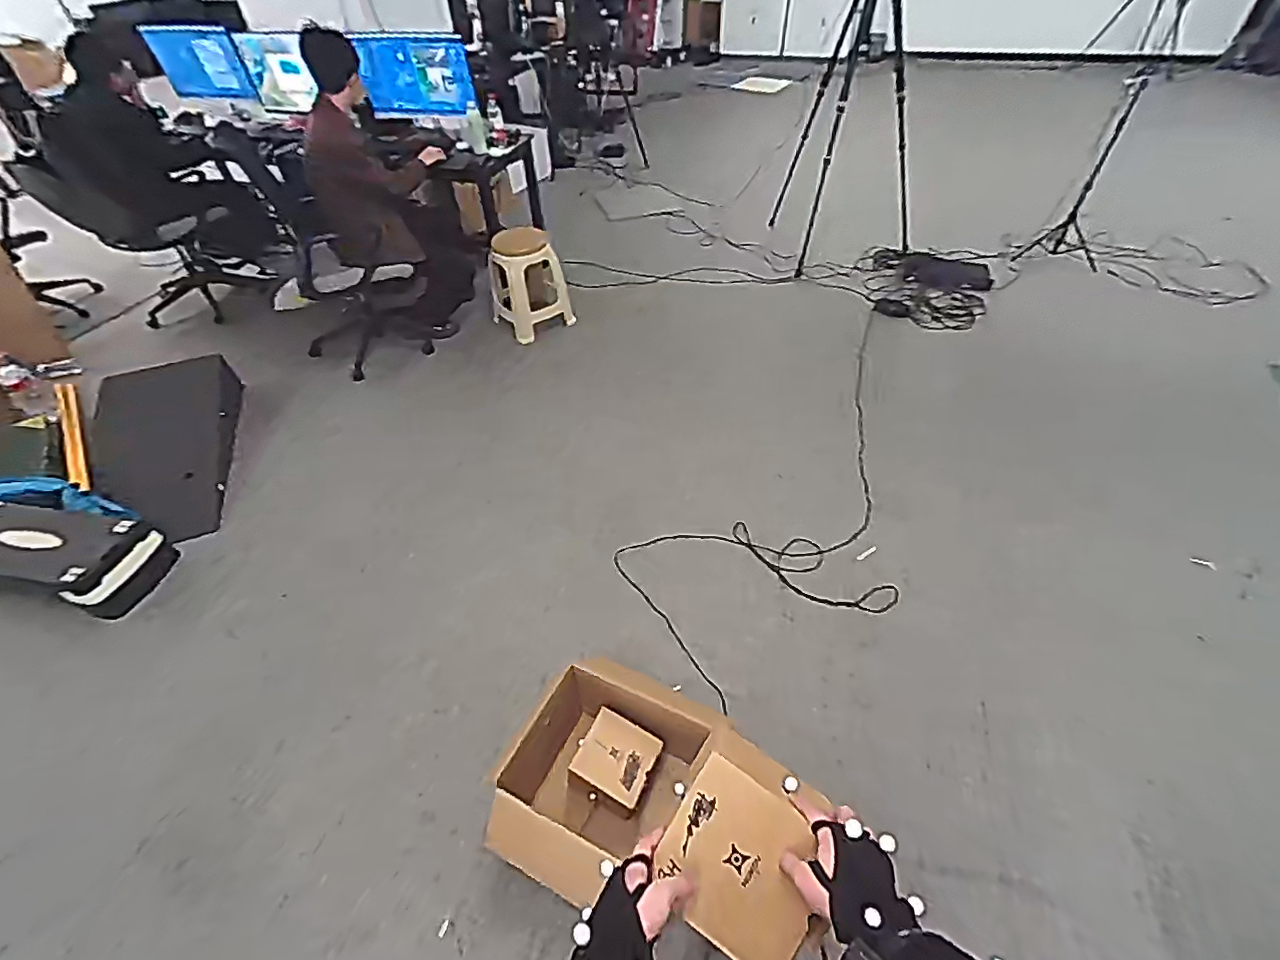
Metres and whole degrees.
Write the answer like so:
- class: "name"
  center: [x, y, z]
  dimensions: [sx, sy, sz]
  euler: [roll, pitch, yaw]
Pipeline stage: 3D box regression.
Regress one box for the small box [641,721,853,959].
- class: "small box"
  center: [0.129, 0.428, 0.666]
  dimensions: [0.179, 0.176, 0.168]
  euler: [32, 86, 16]
